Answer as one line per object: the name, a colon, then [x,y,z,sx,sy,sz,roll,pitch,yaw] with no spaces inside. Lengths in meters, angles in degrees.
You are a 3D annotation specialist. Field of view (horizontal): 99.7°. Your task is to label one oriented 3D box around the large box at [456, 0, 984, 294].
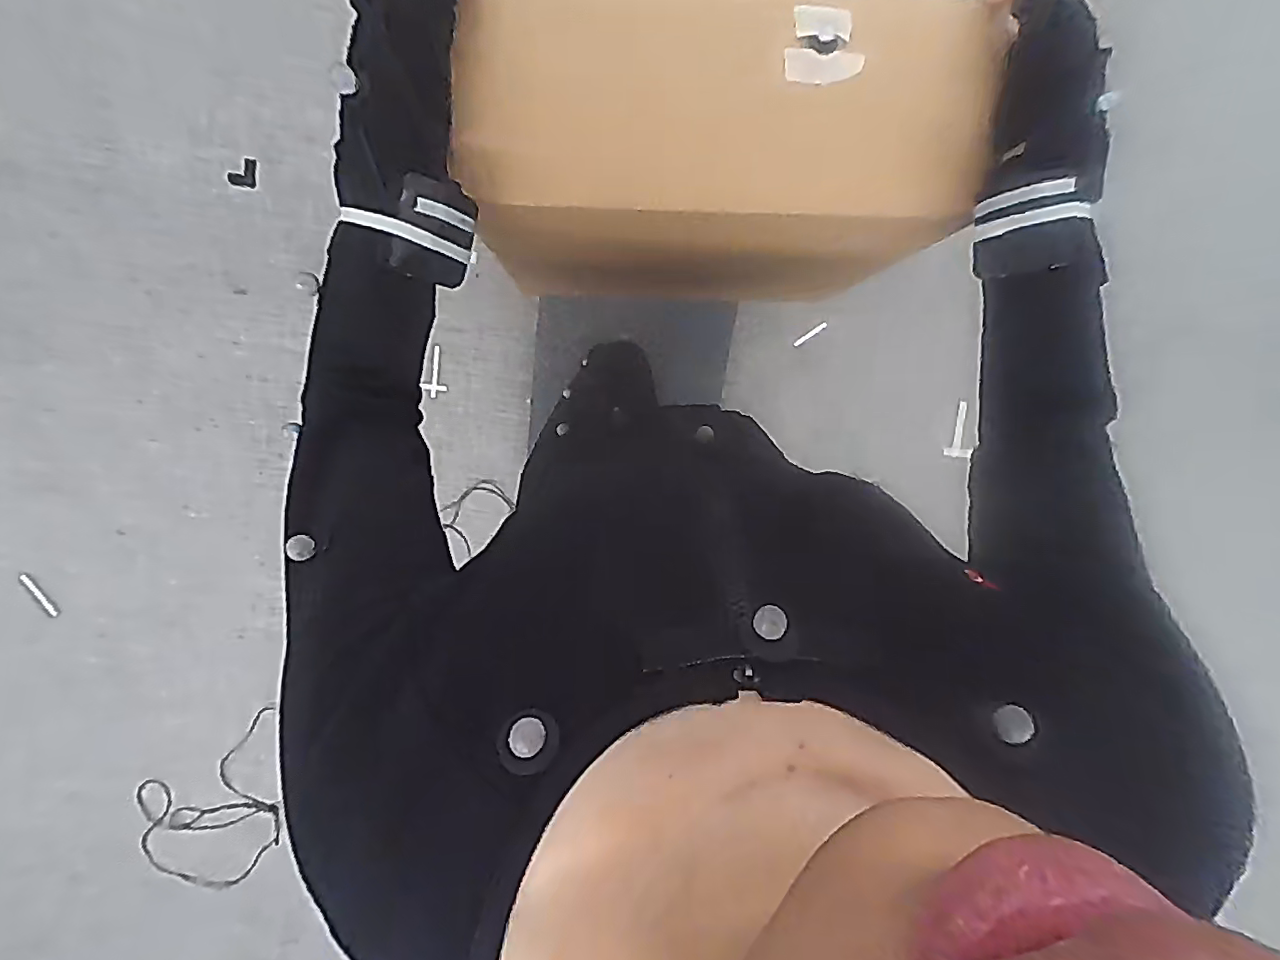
large box: [0.054,-0.381,0.548,0.408,0.320,0.320,0,97,-3]
